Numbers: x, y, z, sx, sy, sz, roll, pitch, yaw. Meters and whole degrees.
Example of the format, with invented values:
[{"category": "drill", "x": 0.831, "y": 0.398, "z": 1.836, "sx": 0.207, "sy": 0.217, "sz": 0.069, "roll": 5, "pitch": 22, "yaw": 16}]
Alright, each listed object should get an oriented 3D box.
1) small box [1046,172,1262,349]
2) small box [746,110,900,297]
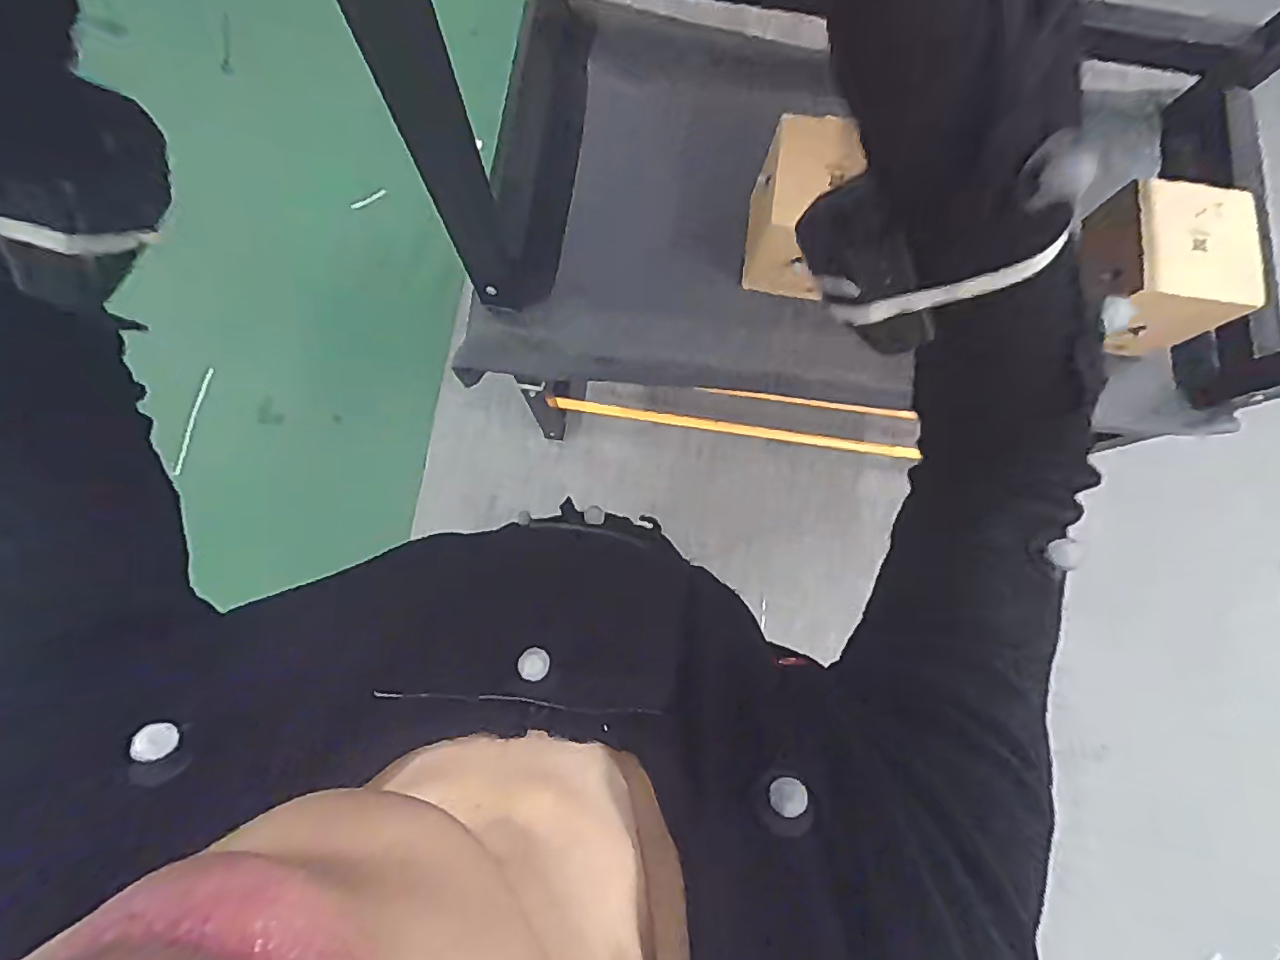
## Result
[{"category": "small box", "x": 0.746, "y": -0.314, "z": 0.806, "sx": 0.168, "sy": 0.176, "sz": 0.179, "roll": 7, "pitch": 78, "yaw": -2}, {"category": "small box", "x": 0.260, "y": -0.397, "z": 0.803, "sx": 0.168, "sy": 0.176, "sz": 0.179, "roll": 8, "pitch": 79, "yaw": -1}]
